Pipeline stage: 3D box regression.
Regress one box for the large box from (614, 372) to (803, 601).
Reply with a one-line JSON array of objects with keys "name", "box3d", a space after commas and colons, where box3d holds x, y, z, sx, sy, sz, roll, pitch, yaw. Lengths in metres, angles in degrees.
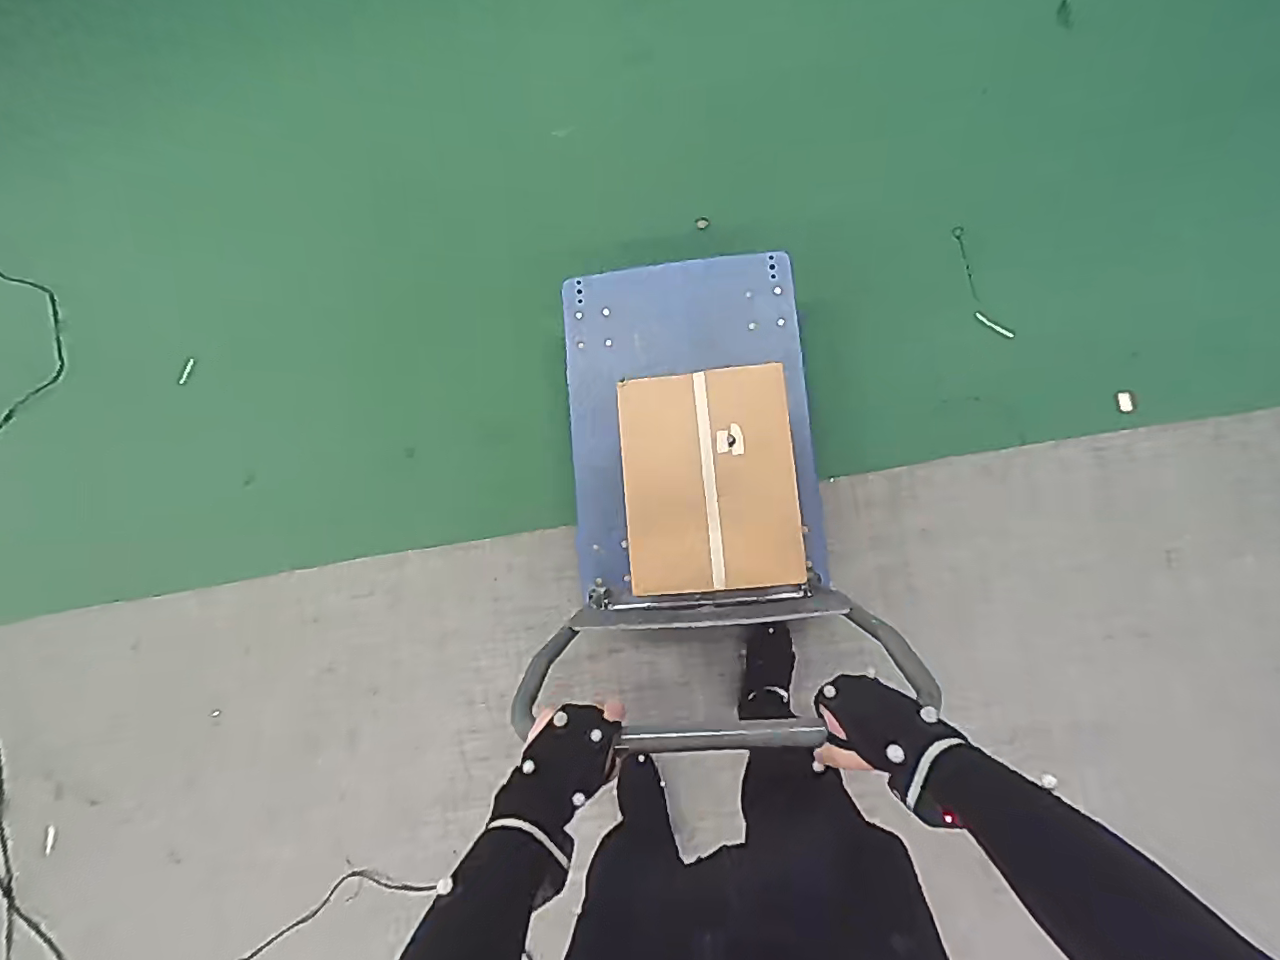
[{"name": "large box", "box3d": [0.135, 0.027, 1.143, 0.320, 0.320, 0.408, -6, 83, 5]}]
